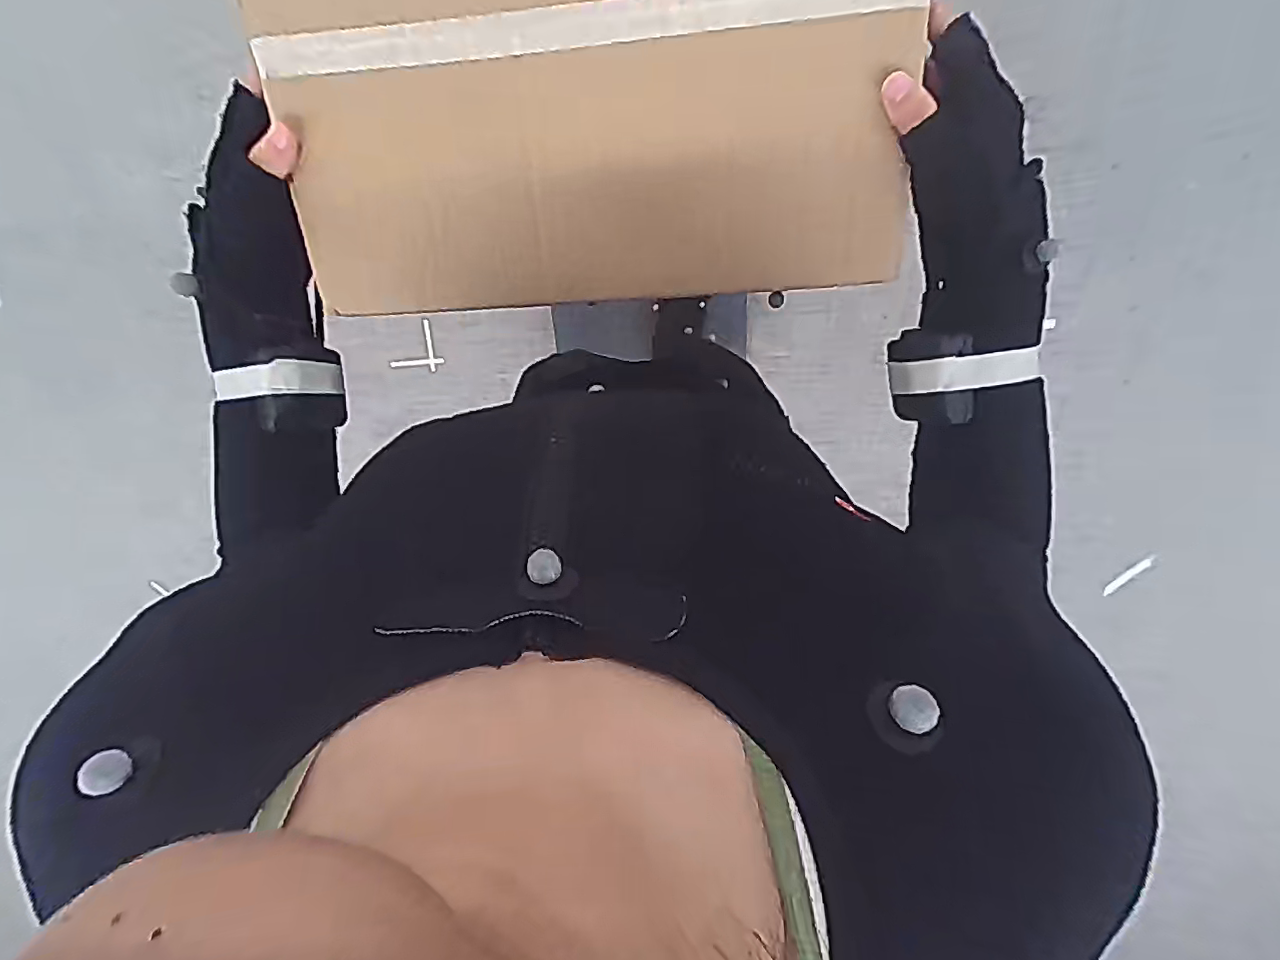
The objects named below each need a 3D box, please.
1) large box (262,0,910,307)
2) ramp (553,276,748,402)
[{"bbox_3d":[-0.026,-0.340,0.468,0.408,0.320,0.320,-2,112,5],"label":"large box"},{"bbox_3d":[0.011,-0.664,1.246,0.509,0.206,0.991,-3,108,4],"label":"ramp"}]
